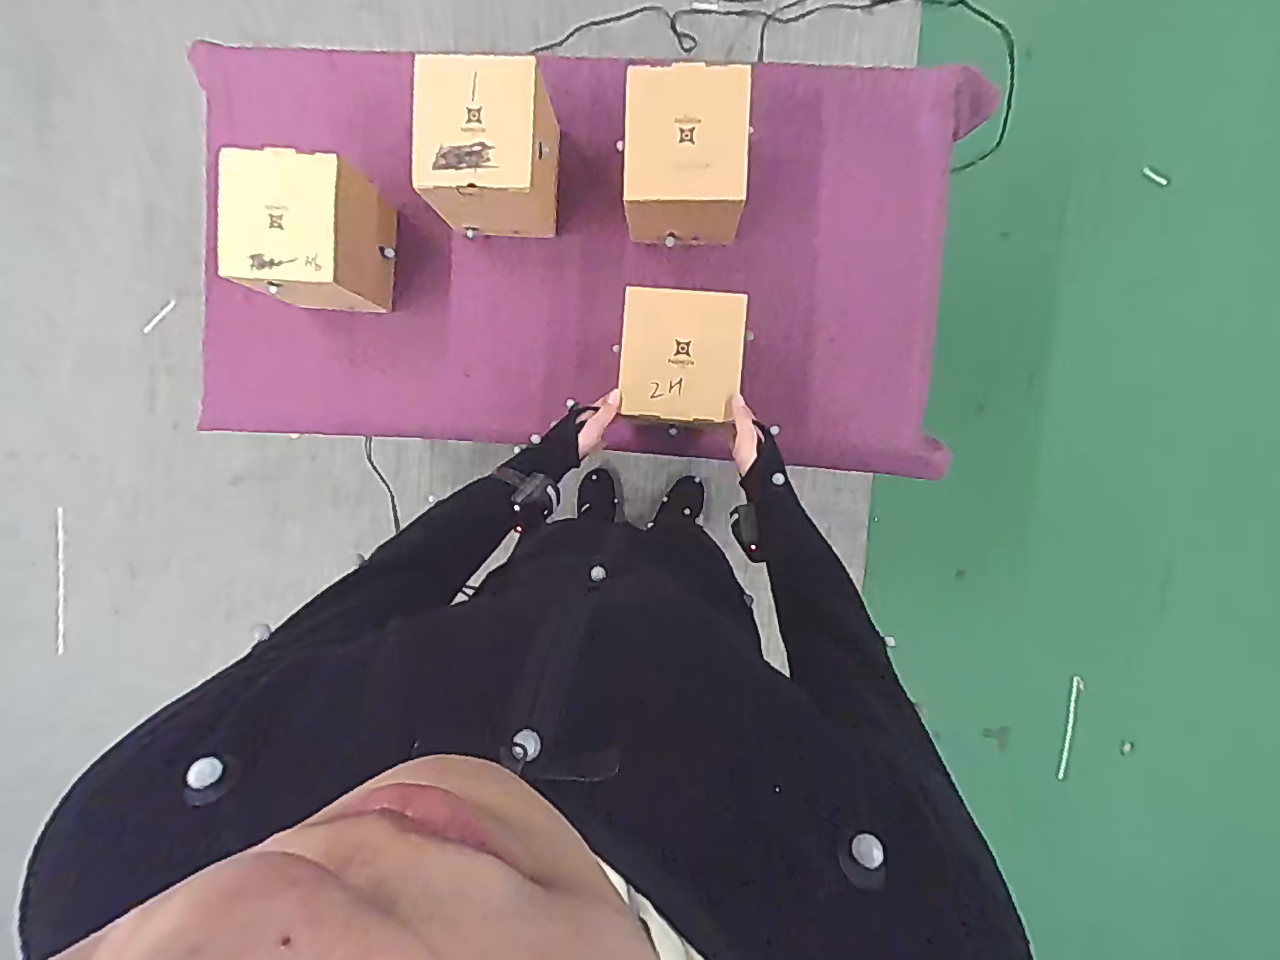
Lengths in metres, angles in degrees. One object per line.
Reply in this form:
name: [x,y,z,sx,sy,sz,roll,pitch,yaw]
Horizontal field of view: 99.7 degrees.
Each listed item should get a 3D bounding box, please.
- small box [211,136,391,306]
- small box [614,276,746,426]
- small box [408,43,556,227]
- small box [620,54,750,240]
small box: [-0.495,-0.377,0.812,0.168,0.176,0.179,5,93,3]
small box: [0.055,-0.181,0.803,0.168,0.176,0.179,5,91,2]
small box: [-0.222,-0.492,0.796,0.168,0.176,0.179,3,93,2]
small box: [0.062,-0.473,0.788,0.168,0.176,0.179,2,95,3]
